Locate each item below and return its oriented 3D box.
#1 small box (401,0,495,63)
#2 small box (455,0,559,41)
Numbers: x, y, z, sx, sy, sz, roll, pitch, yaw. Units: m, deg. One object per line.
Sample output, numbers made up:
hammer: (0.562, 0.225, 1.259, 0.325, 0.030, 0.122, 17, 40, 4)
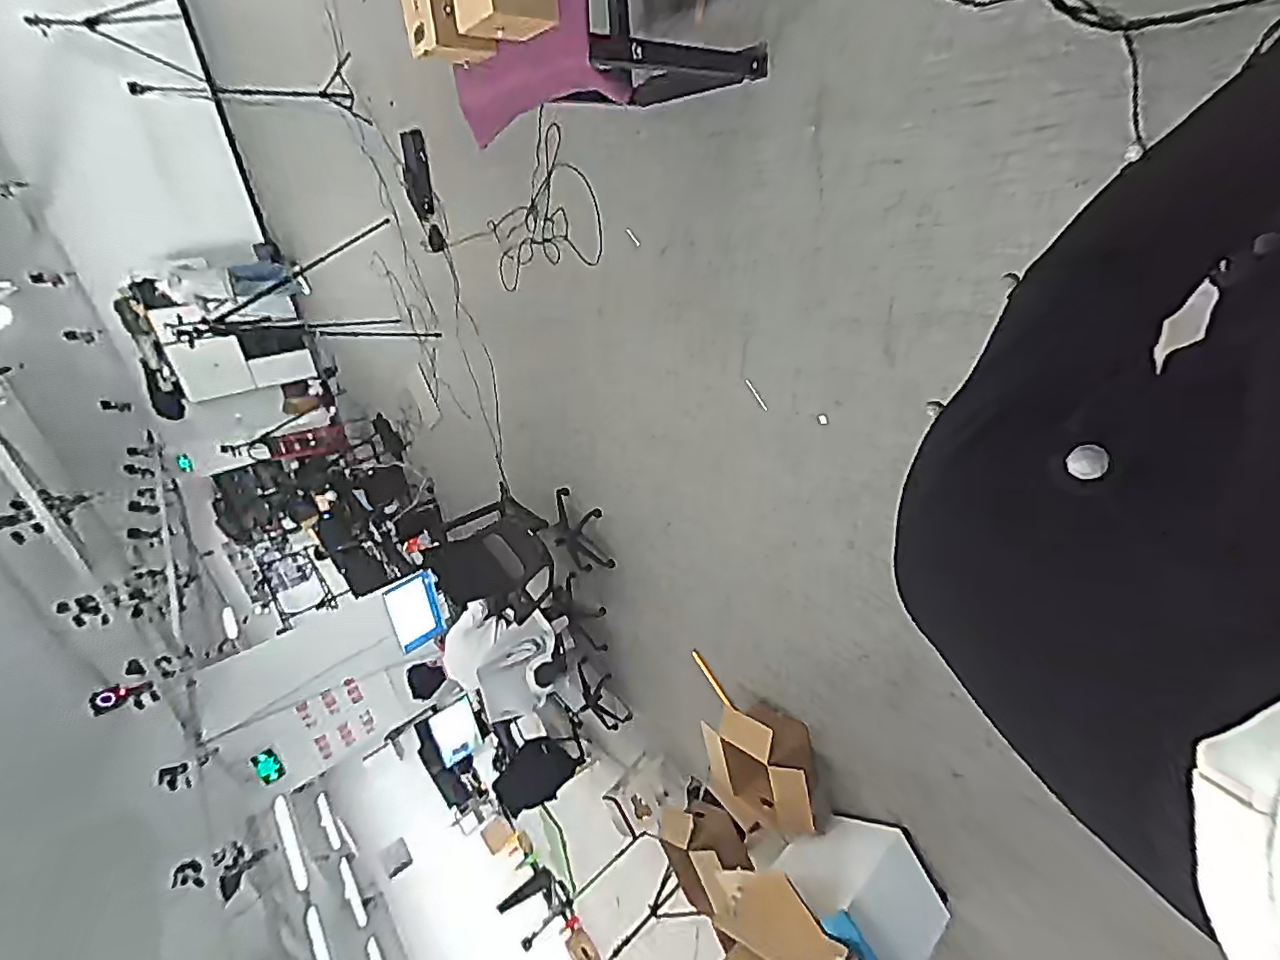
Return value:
small box: (-0.489, -1.187, 1.381, 0.168, 0.176, 0.179, 27, 130, 42)
small box: (-0.299, -1.089, 1.184, 0.179, 0.176, 0.168, 27, 131, 45)
